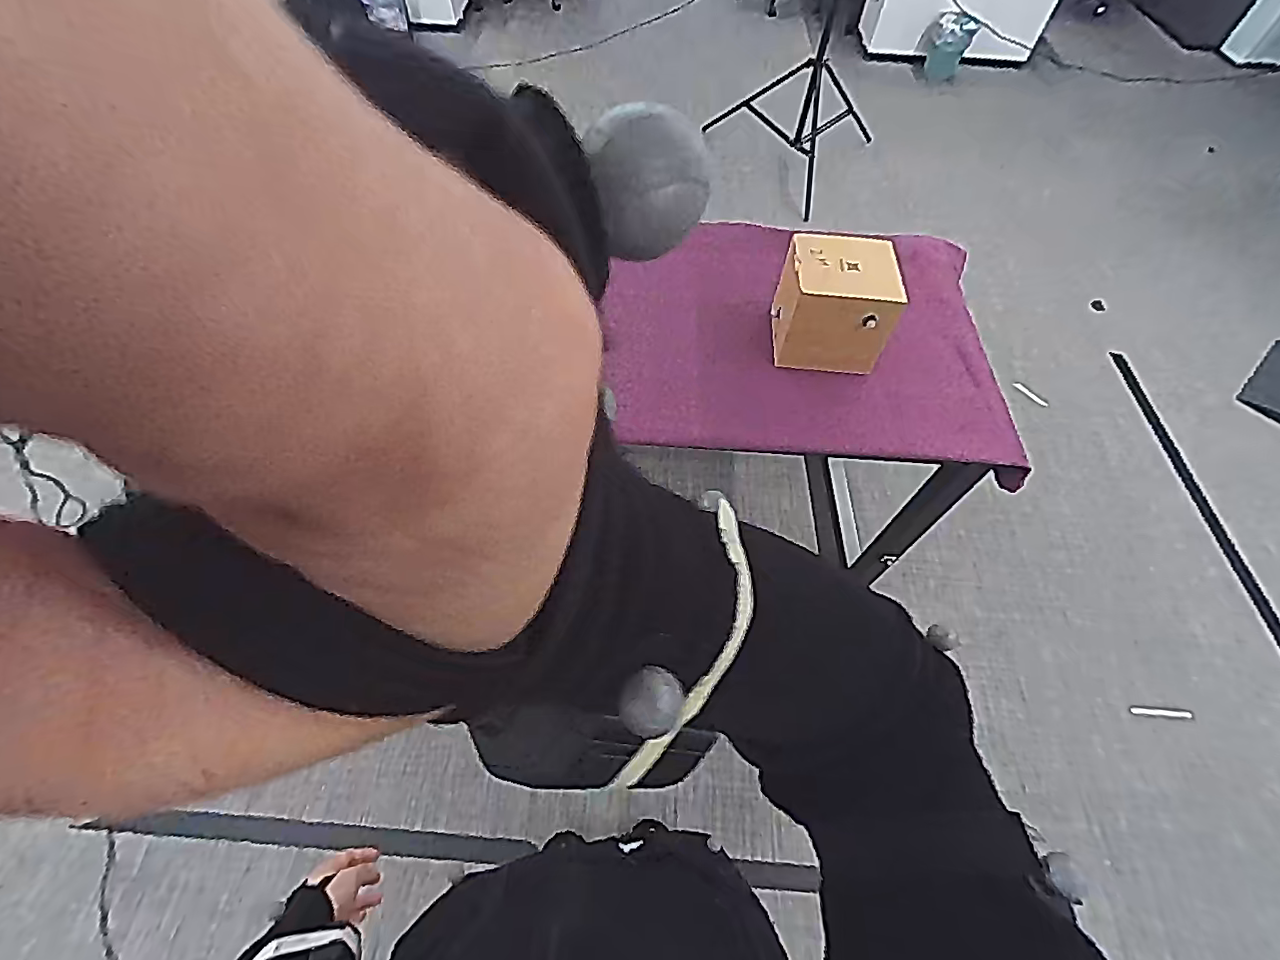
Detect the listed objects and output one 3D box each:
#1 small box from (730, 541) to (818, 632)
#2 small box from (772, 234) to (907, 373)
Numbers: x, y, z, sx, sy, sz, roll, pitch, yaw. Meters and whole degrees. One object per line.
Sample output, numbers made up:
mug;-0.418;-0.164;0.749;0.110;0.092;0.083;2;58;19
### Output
small box;0.355;0.294;1.456;0.179;0.176;0.168;18;59;10
small box;0.346;-0.312;0.973;0.179;0.176;0.168;5;57;2
